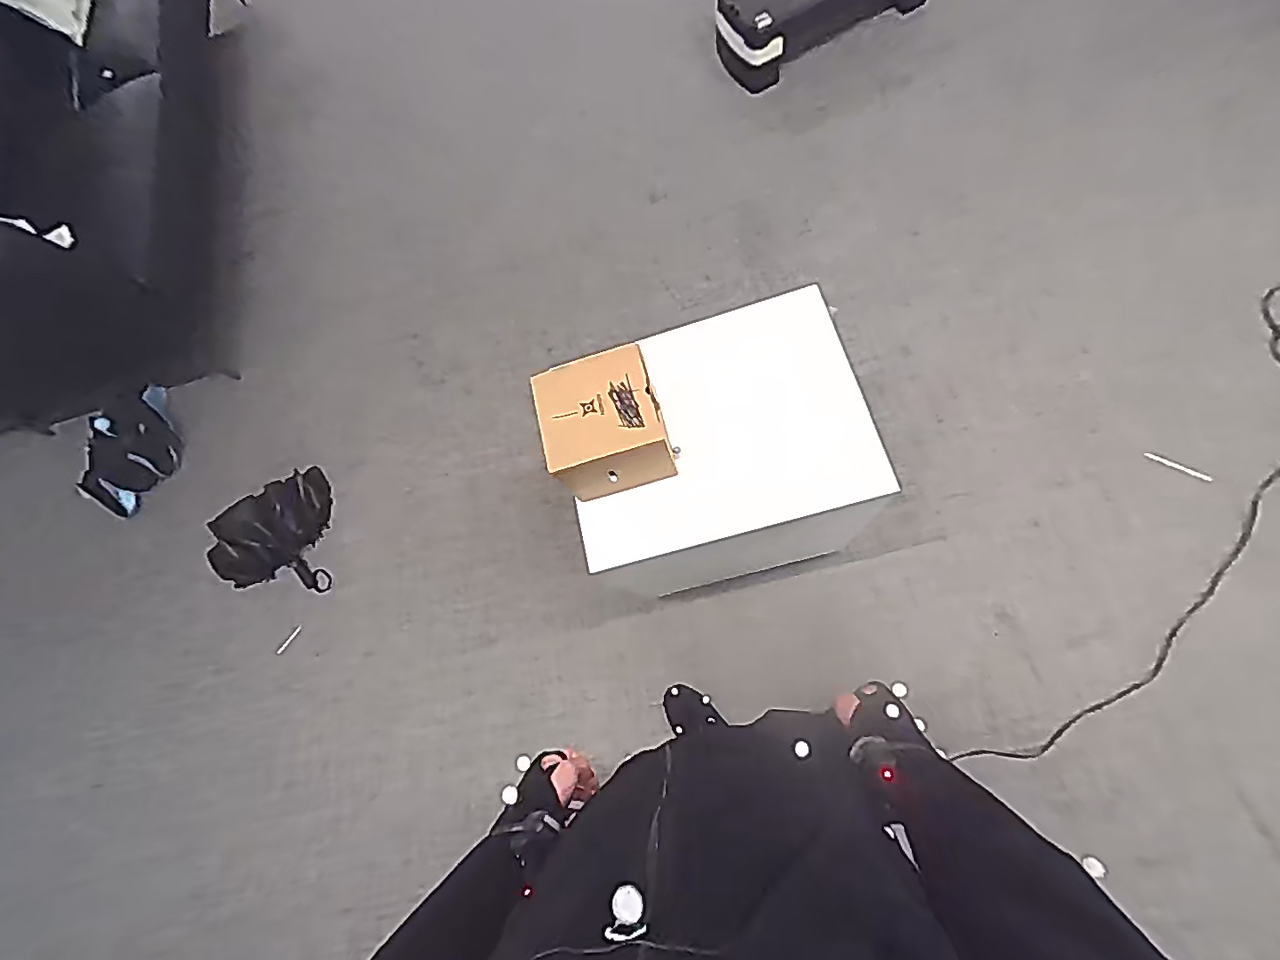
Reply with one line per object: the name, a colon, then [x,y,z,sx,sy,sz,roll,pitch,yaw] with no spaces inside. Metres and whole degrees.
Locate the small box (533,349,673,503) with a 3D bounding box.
small box: [-0.050,-0.077,0.866,0.179,0.176,0.168,-16,70,7]
